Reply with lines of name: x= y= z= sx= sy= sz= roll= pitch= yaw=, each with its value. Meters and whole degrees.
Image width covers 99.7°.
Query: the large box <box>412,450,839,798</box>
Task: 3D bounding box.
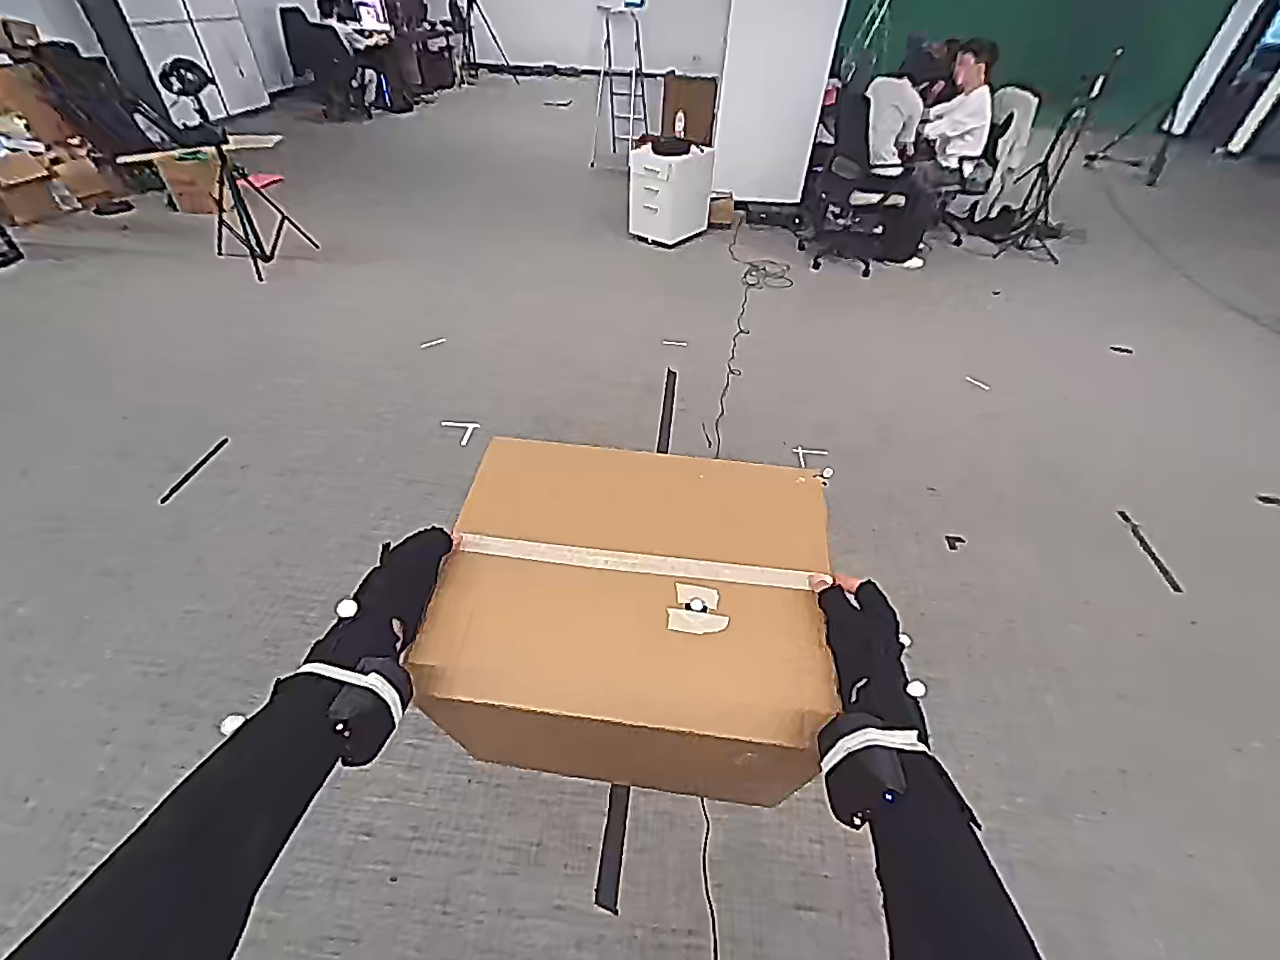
large box: x=-0.005 y=0.190 z=0.698 sx=0.408 sy=0.320 sz=0.320 roll=6 pitch=52 yaw=4
